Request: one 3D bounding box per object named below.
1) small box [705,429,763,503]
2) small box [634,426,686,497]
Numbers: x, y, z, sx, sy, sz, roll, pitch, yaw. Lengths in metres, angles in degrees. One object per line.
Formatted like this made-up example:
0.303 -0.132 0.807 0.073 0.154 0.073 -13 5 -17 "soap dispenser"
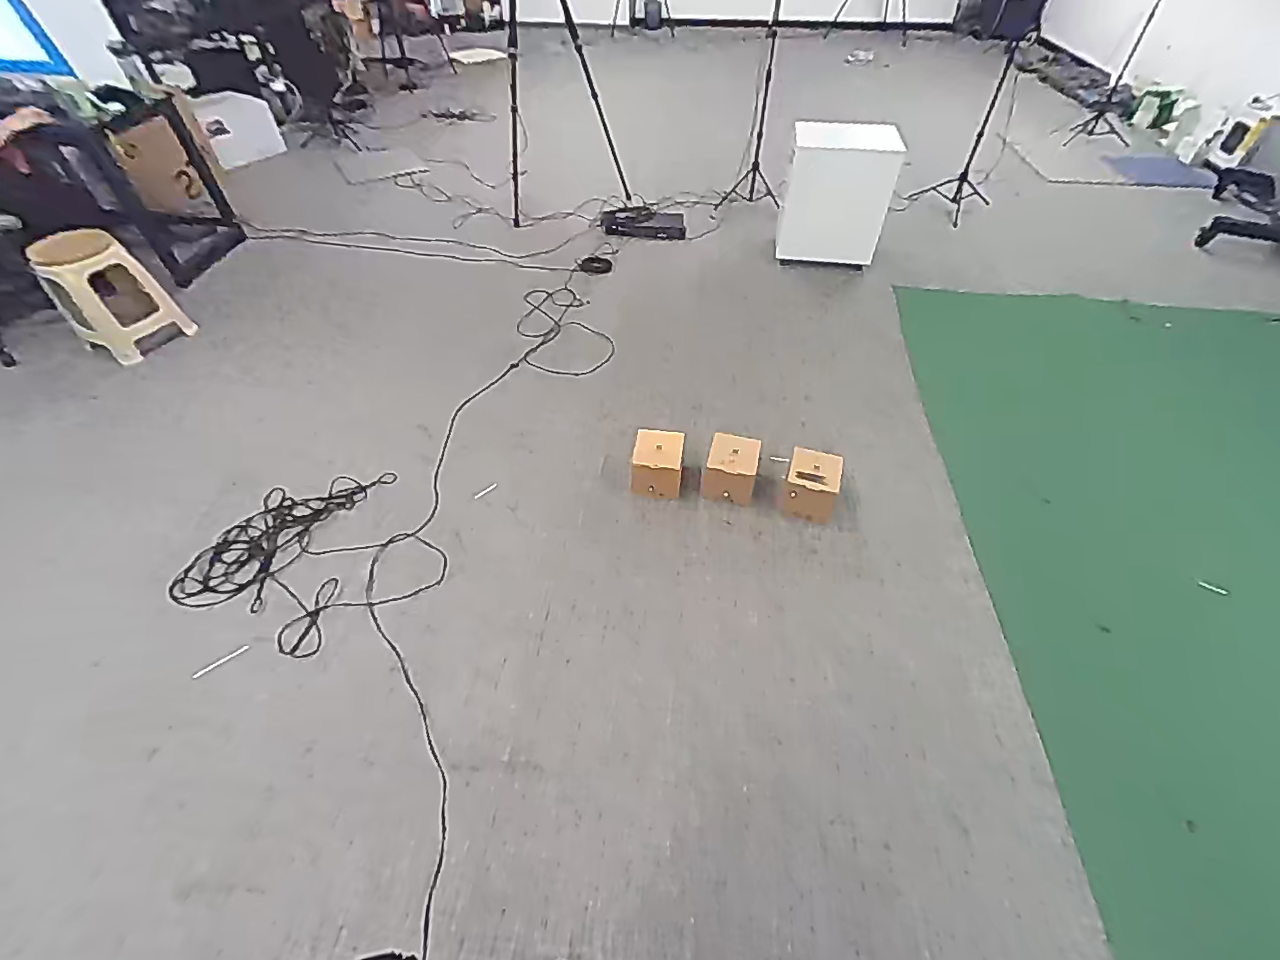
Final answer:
0.325 -0.047 1.896 0.168 0.176 0.179 11 50 11 "small box"
0.070 -0.065 1.916 0.168 0.176 0.179 6 49 6 "small box"
